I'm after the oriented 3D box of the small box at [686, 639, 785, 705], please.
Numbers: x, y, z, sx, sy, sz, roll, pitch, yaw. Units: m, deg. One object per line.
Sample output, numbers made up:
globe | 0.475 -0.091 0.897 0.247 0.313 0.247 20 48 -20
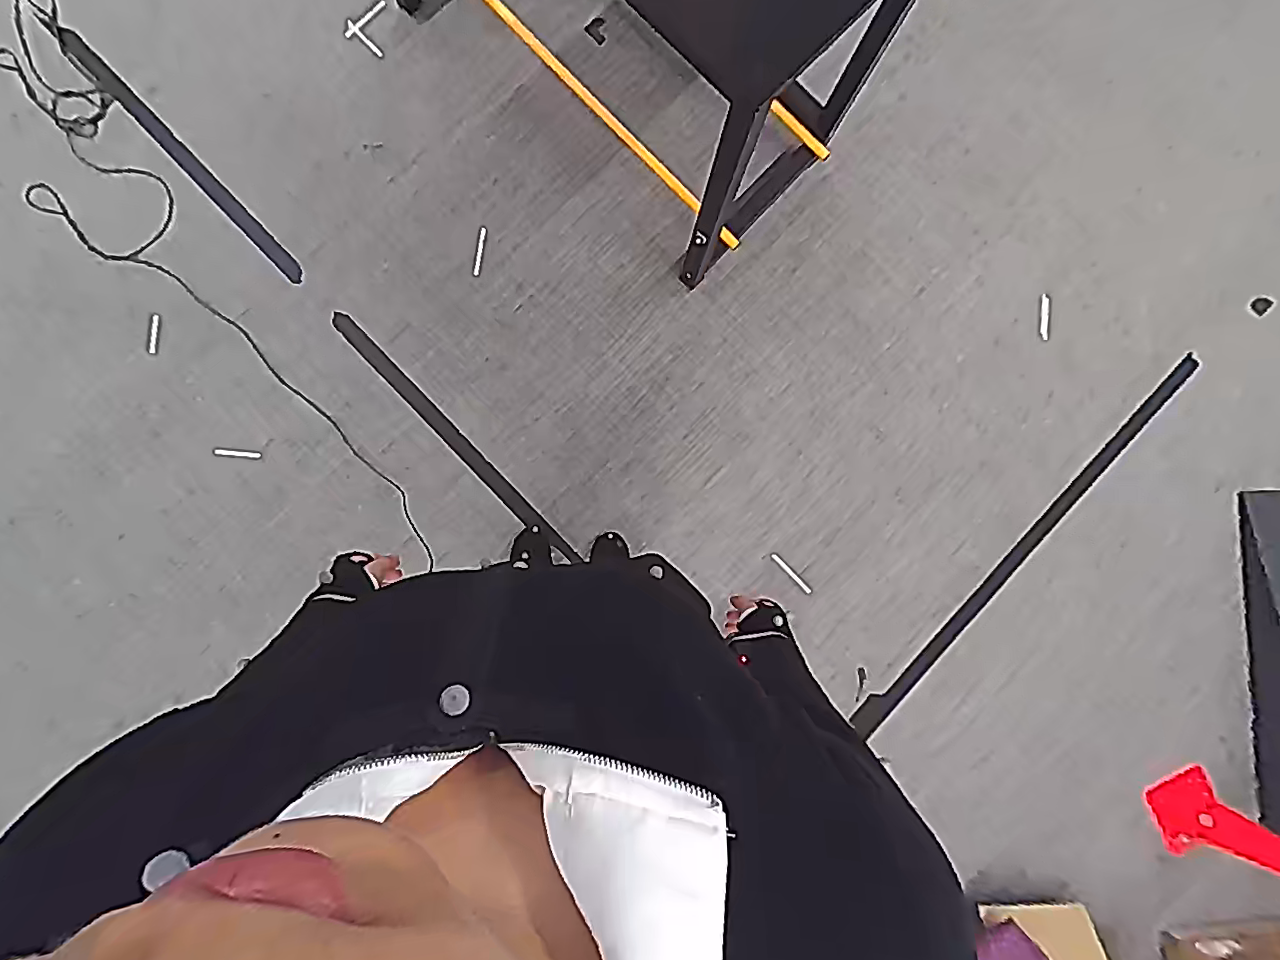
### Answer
small box | 0.242 0.543 1.416 0.179 0.176 0.168 38 84 1
